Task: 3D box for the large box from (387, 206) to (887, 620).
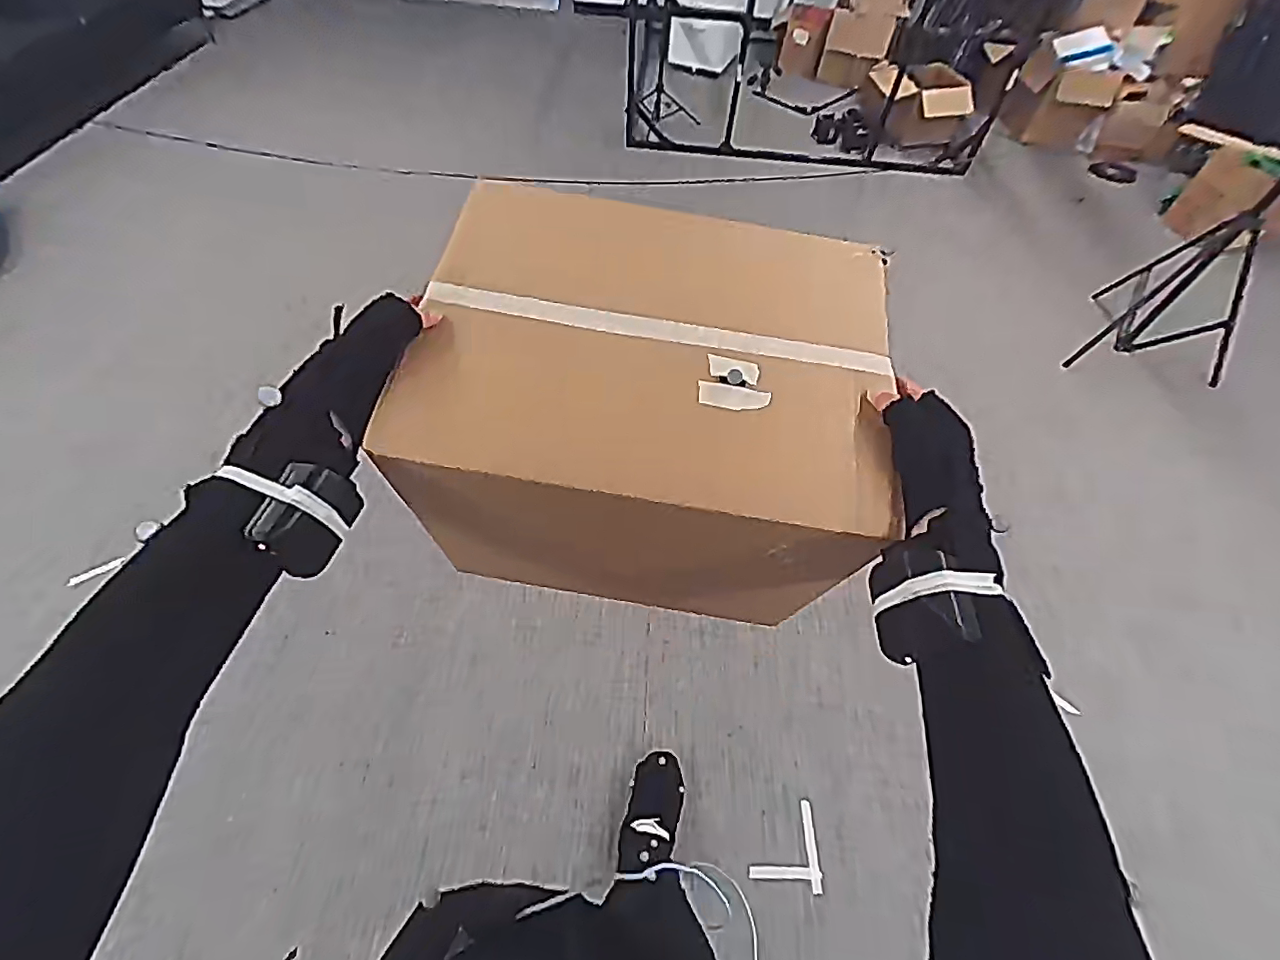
[{"bbox_3d":[0.004,-0.050,0.617,0.408,0.320,0.320,10,64,-1],"label":"large box"}]
